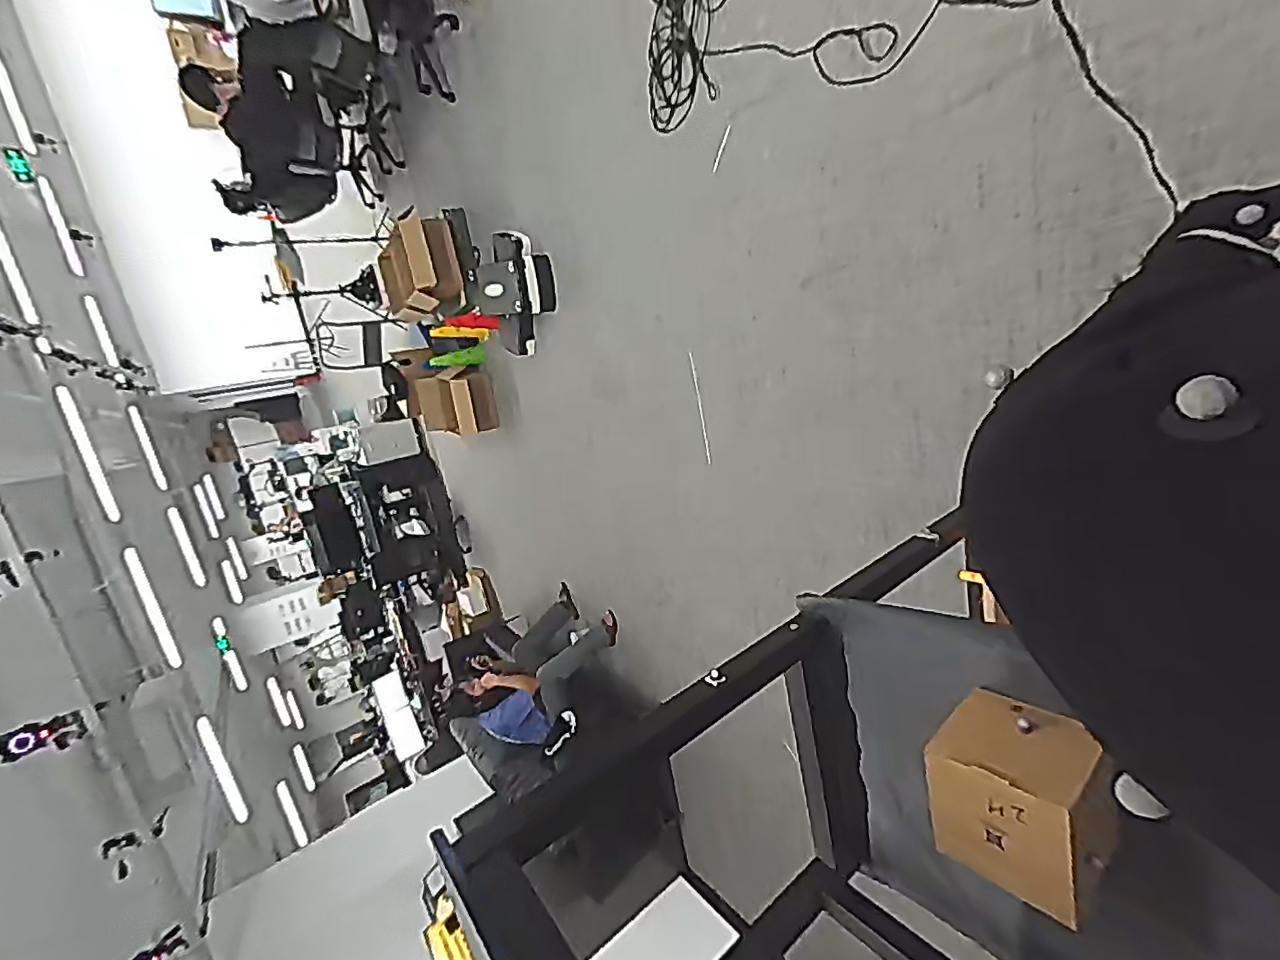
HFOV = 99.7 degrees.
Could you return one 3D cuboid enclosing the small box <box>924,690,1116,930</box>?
[{"bbox_3d":[0.510,0.421,0.724,0.168,0.176,0.179,4,110,53],"label":"small box"}]
